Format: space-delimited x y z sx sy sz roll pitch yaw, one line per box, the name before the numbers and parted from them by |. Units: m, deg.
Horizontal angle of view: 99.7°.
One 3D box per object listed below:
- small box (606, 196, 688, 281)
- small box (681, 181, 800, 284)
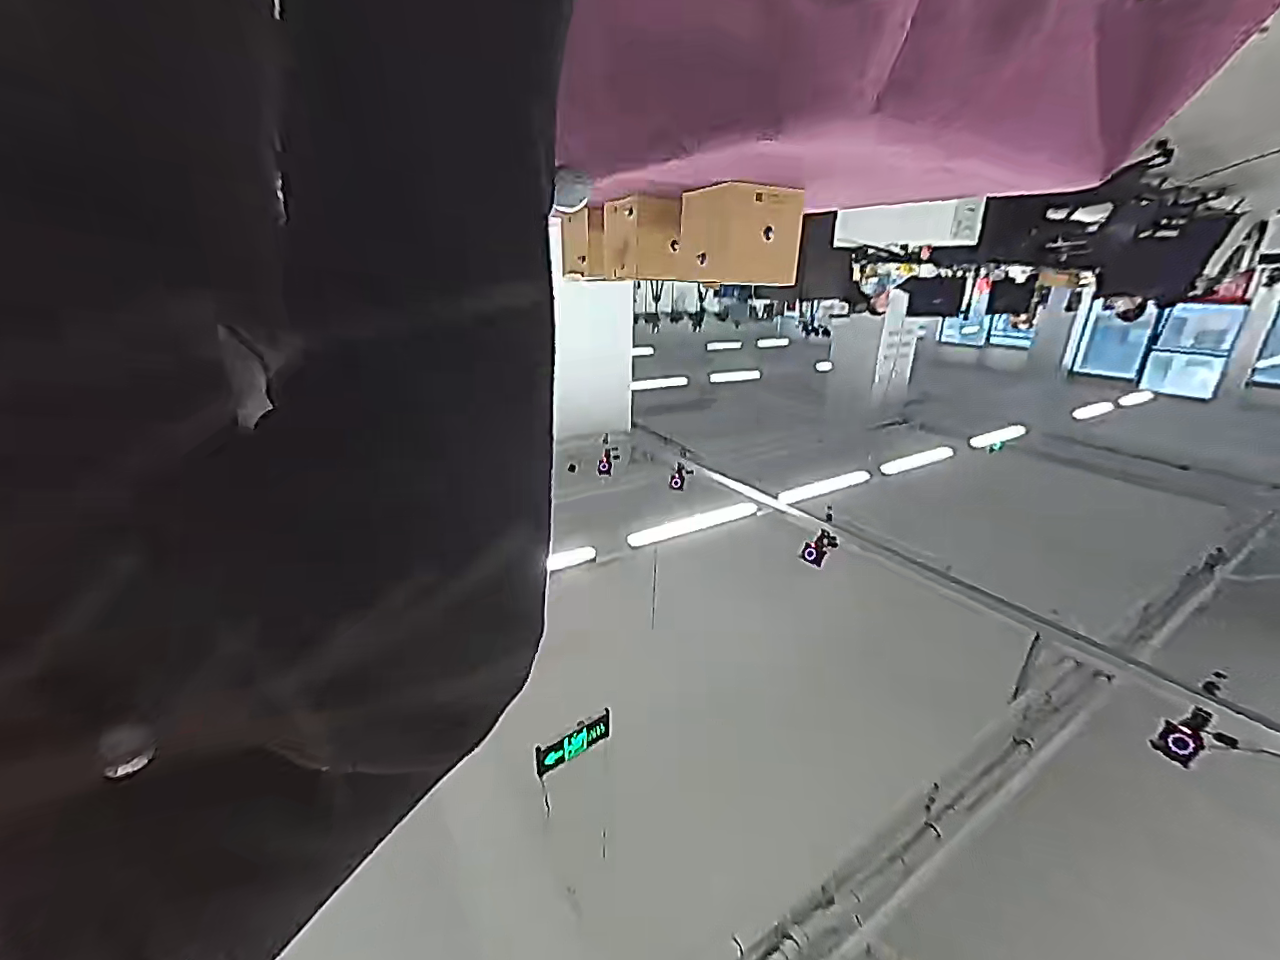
small box | 0.031 -0.553 1.248 0.179 0.176 0.168 -11 -156 -27
small box | 0.193 -0.474 1.053 0.168 0.176 0.179 -8 -157 -24
